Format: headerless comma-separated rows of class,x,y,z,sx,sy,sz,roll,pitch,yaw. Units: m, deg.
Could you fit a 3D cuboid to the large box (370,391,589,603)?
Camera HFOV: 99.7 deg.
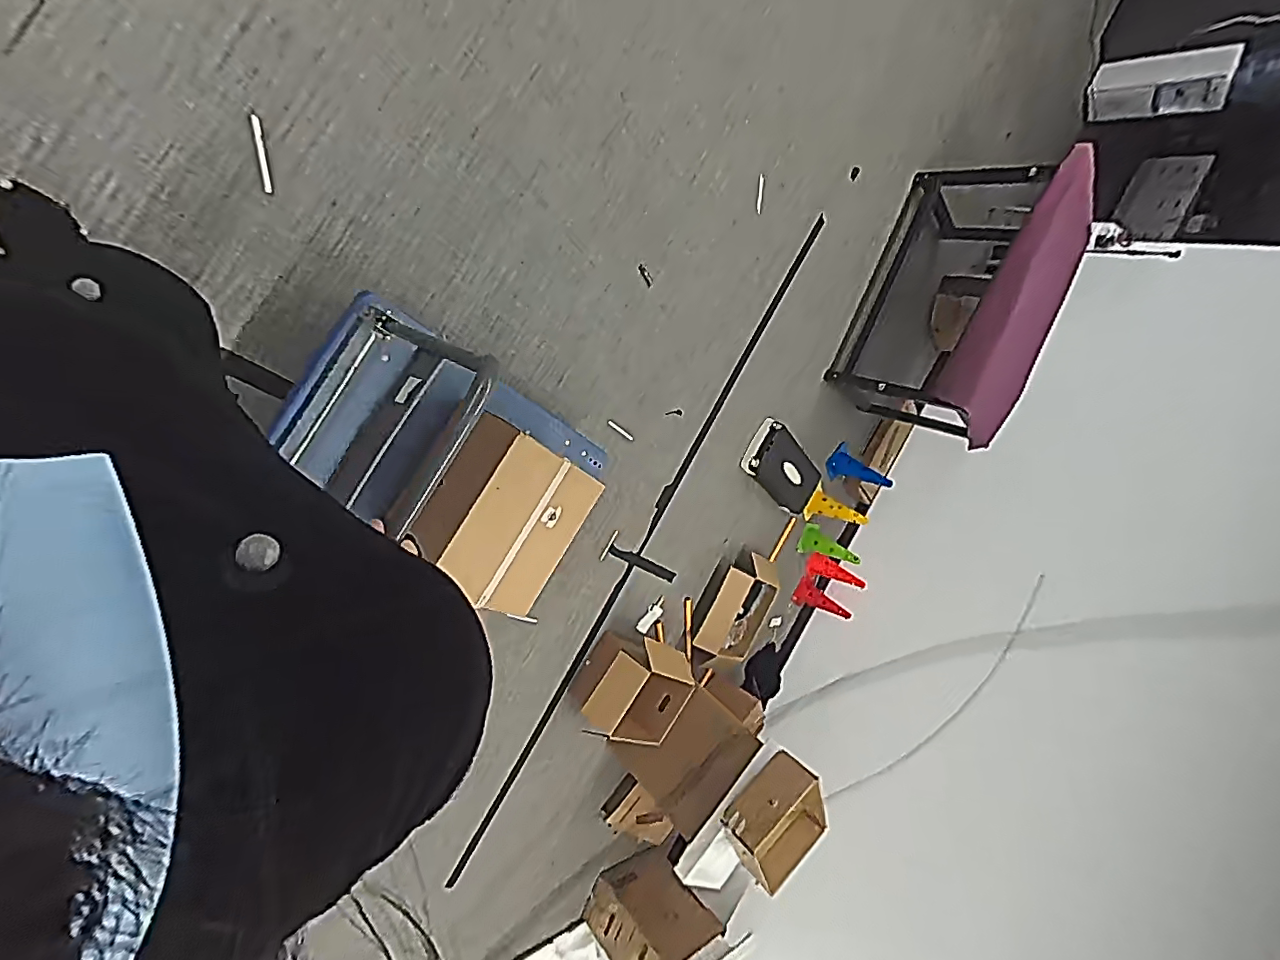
large box,-0.412,0.041,1.390,0.320,0.320,0.408,36,82,-48
